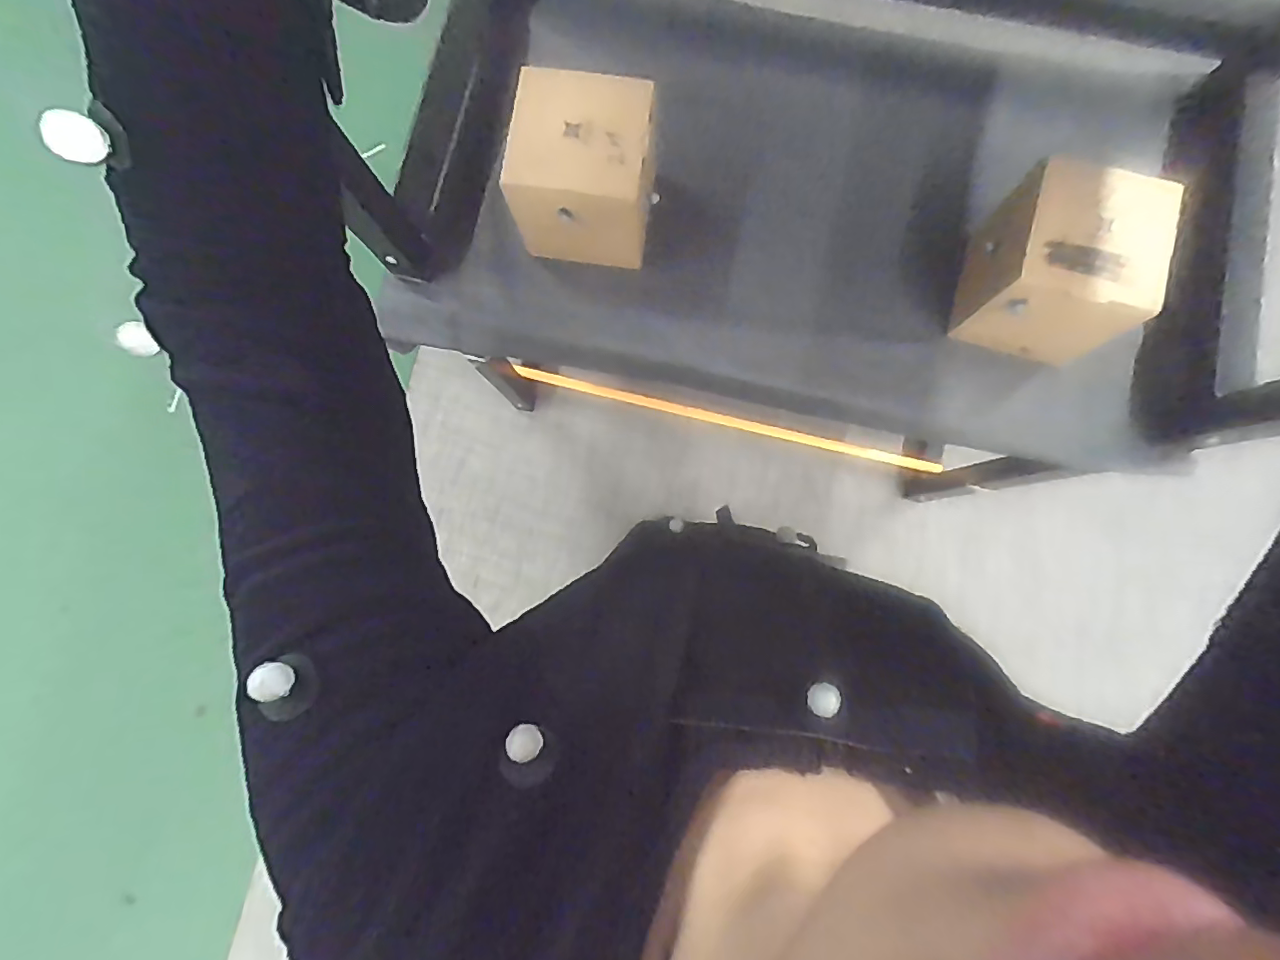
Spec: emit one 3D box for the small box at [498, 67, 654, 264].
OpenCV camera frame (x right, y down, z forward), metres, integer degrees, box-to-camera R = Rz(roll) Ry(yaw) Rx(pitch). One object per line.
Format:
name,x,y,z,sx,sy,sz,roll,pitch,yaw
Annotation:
small box,-0.078,-0.426,0.757,0.179,0.176,0.168,9,84,2
